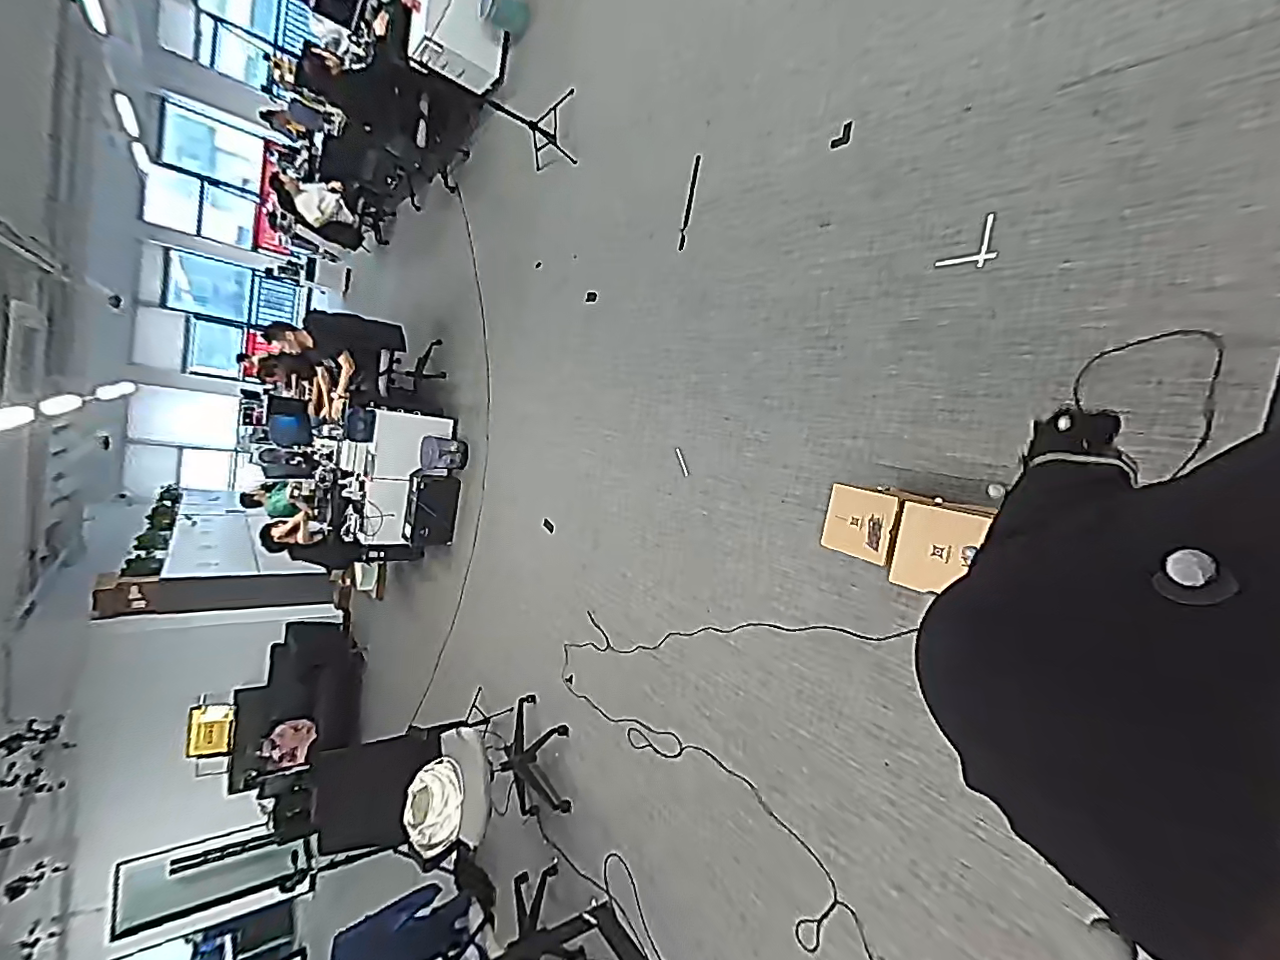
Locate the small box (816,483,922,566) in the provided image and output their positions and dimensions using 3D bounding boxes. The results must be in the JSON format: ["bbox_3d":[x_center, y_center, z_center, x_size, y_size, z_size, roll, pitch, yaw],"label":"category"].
[{"bbox_3d":[0.580,0.108,1.358,0.179,0.176,0.168,19,100,51],"label":"small box"}]

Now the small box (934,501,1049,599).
[{"bbox_3d":[0.738,0.147,1.163,0.179,0.176,0.168,16,98,50],"label":"small box"}]

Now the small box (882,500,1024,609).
[{"bbox_3d":[0.611,0.140,1.056,0.179,0.176,0.168,16,99,48],"label":"small box"}]
